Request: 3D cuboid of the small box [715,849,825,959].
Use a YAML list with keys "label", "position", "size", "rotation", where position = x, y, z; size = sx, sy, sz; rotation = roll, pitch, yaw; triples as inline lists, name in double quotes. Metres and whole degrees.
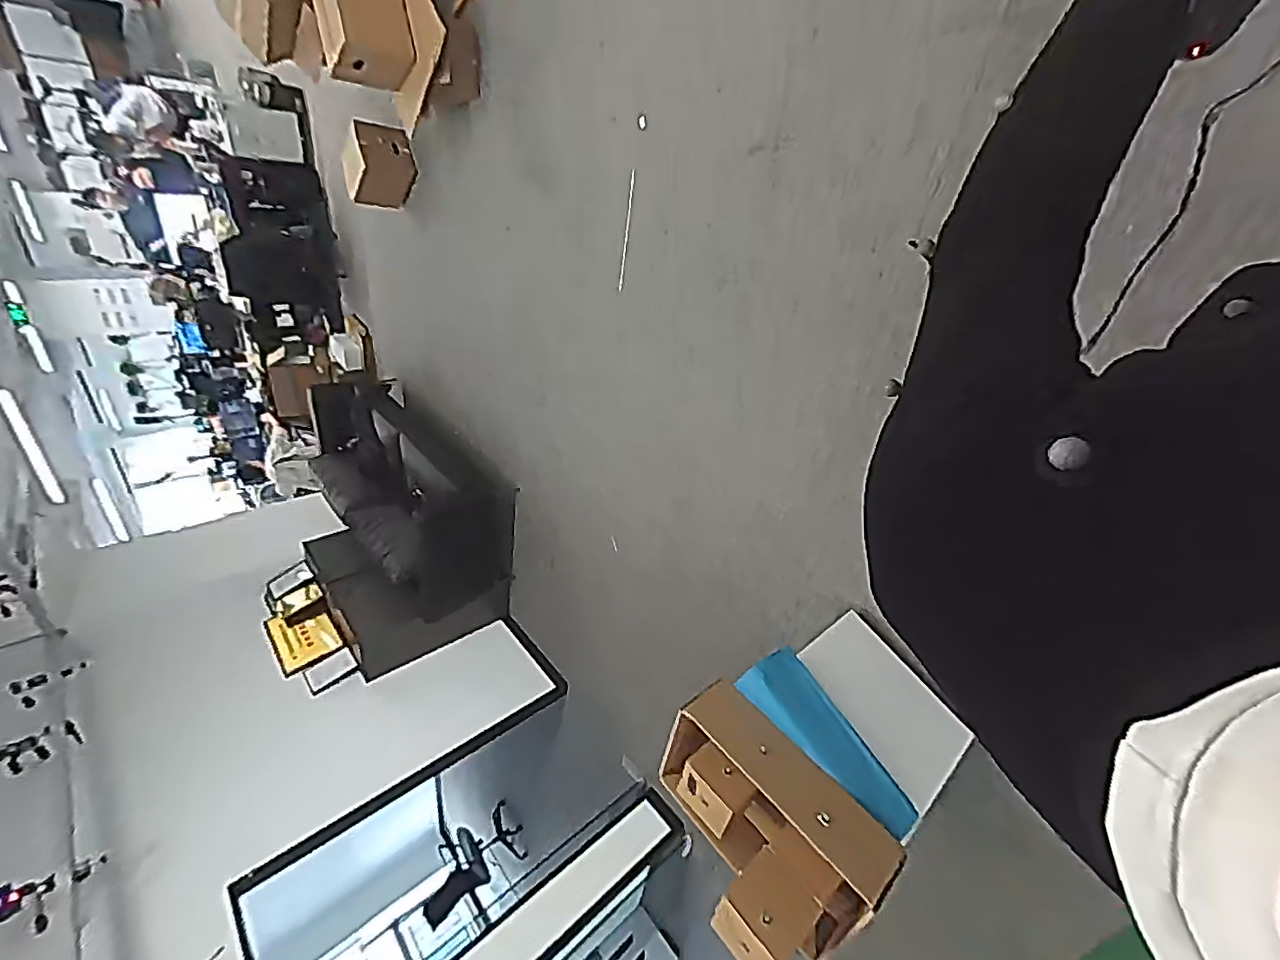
- label: "small box"
  position: [0.313, 1.049, 1.302]
  size: [0.179, 0.176, 0.168]
  rotation: [37, 132, 37]
